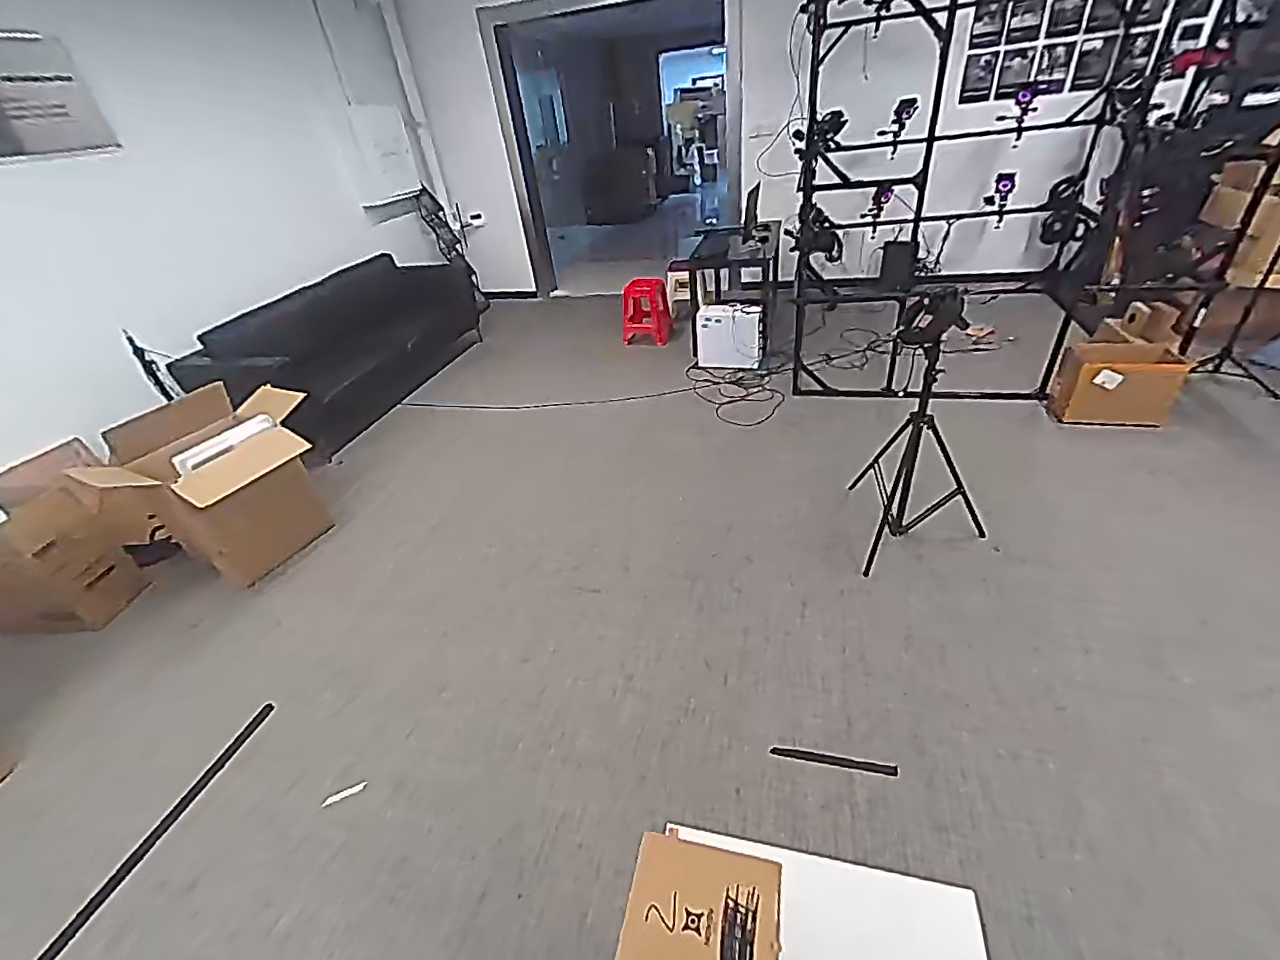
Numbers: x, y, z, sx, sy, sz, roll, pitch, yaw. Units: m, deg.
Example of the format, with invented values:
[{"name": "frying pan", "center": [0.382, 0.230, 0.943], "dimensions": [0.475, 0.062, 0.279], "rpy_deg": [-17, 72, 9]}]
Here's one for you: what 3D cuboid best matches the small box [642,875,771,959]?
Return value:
[{"name": "small box", "center": [0.093, 0.703, 0.755], "dimensions": [0.168, 0.176, 0.179], "rpy_deg": [4, 36, 16]}]
